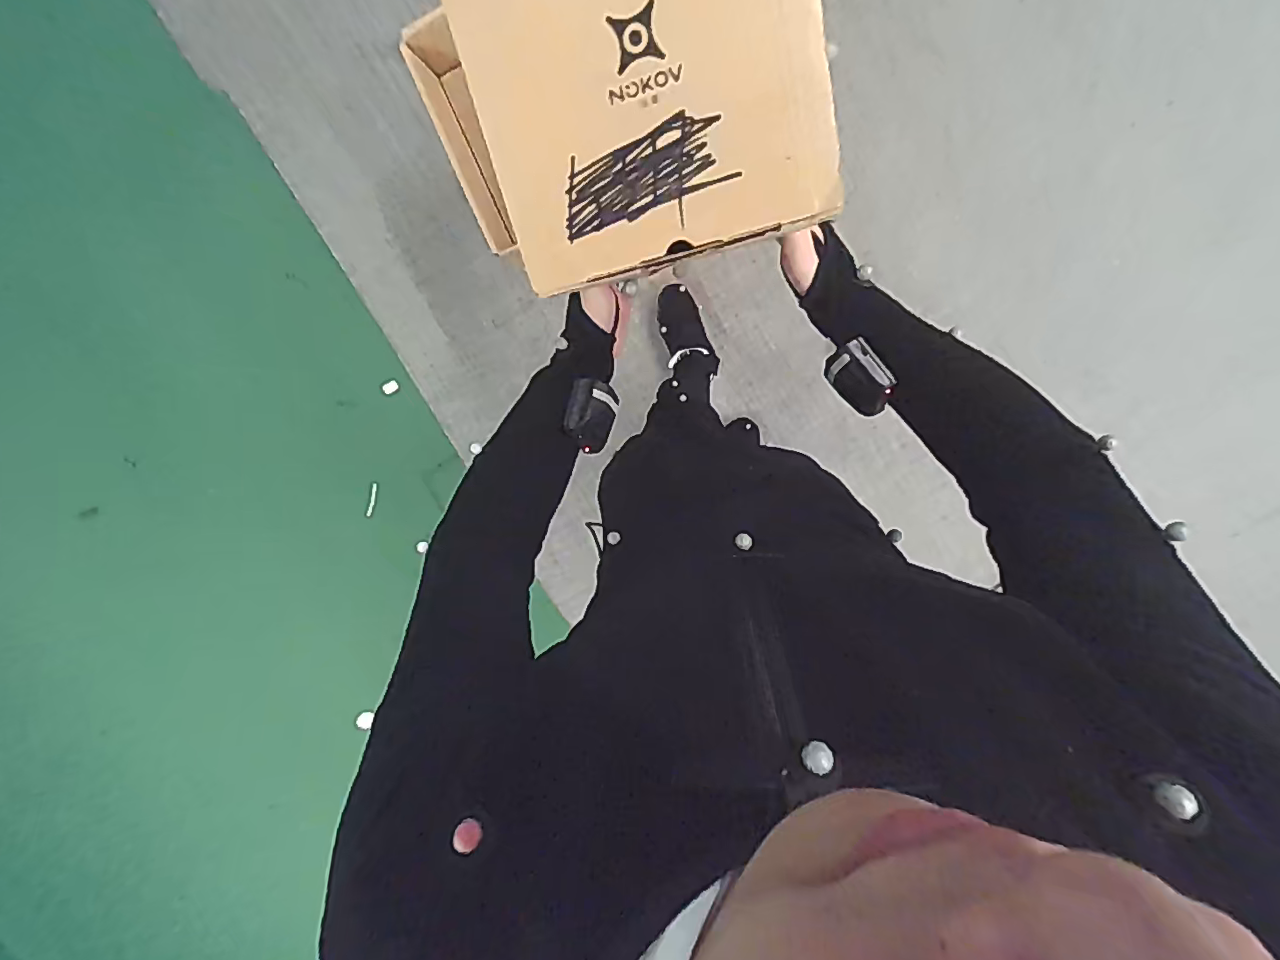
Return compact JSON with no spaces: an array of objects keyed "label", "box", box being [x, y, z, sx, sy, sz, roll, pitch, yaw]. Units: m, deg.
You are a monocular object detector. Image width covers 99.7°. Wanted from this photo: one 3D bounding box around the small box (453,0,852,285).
[{"label":"small box","box":[0.013,-0.225,0.316,0.168,0.176,0.179,-11,109,11]}]
